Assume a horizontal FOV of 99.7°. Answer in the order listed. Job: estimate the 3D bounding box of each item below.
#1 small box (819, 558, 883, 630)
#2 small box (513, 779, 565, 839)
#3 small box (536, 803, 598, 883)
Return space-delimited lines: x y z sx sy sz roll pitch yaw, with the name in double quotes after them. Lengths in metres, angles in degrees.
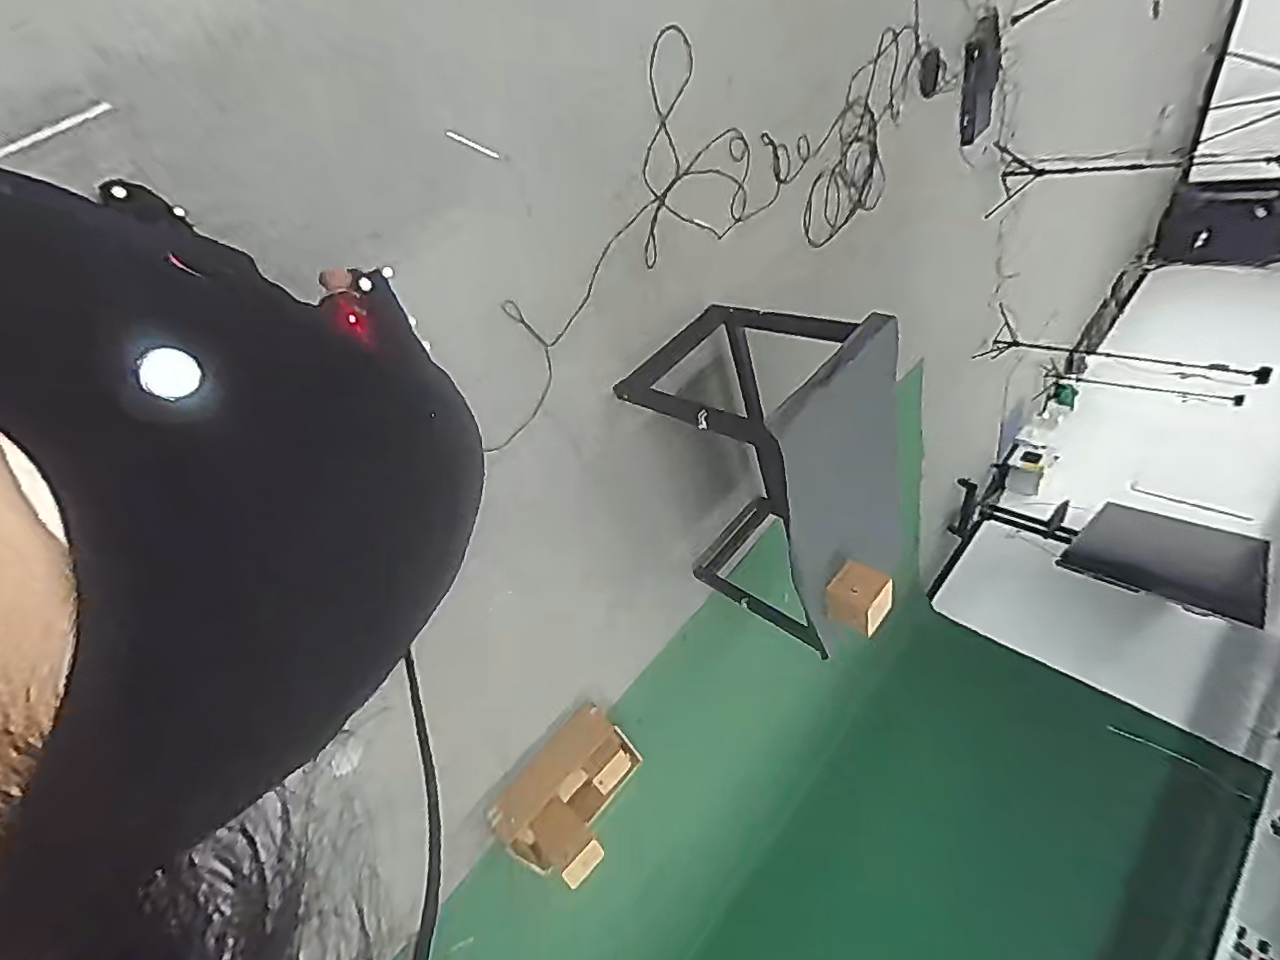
0.777 0.412 1.997 0.168 0.176 0.179 -41 134 -24 "small box"
-0.411 1.424 2.313 0.168 0.176 0.179 -37 130 -28 "small box"
-0.302 1.472 2.198 0.179 0.176 0.168 -37 131 -28 "small box"
